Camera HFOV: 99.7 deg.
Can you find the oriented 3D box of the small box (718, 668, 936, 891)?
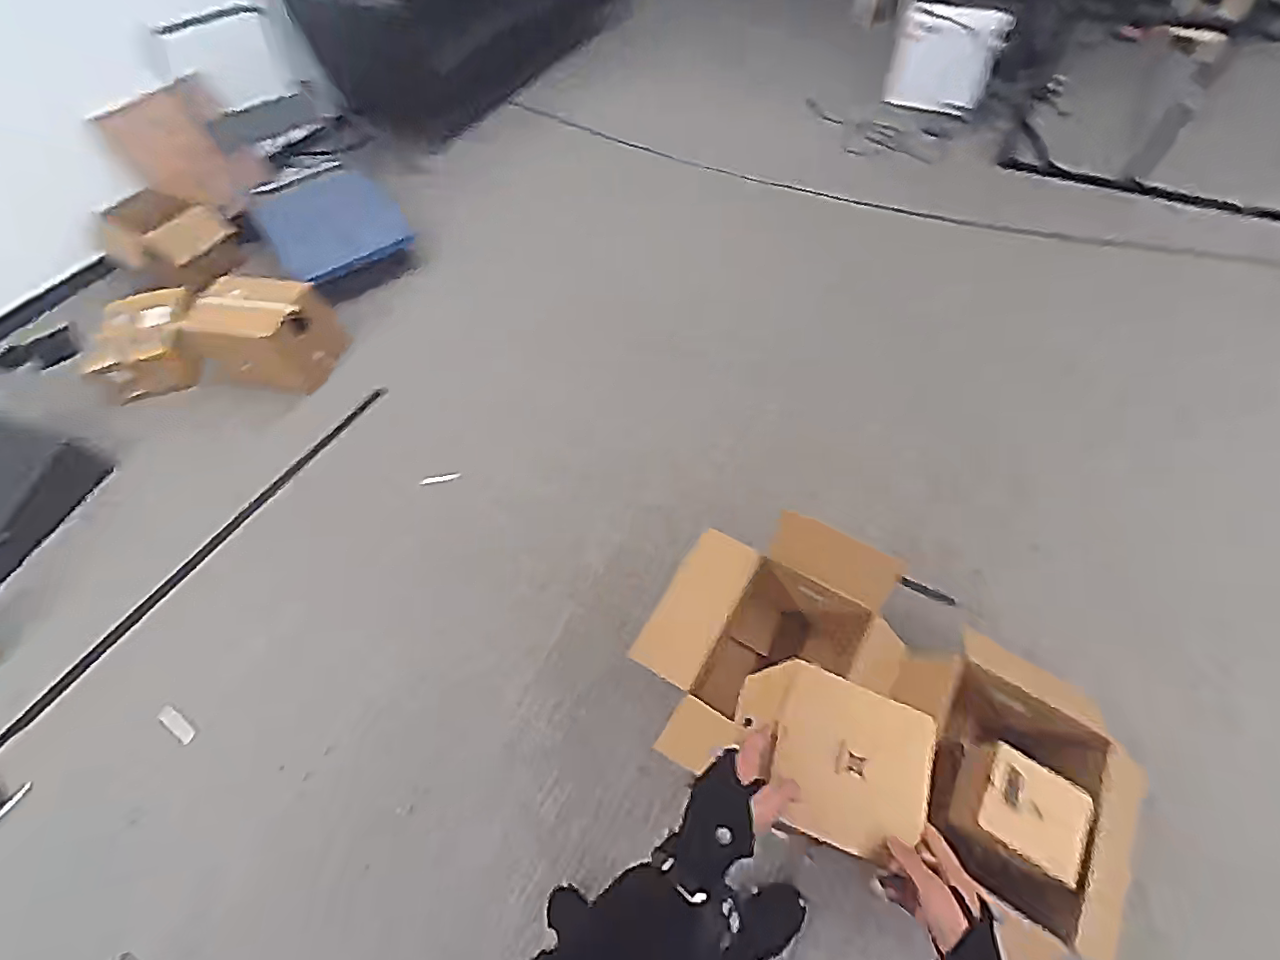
[{"bbox_3d":[0.214,0.345,0.646,0.179,0.176,0.168,22,62,2],"label":"small box"}]
